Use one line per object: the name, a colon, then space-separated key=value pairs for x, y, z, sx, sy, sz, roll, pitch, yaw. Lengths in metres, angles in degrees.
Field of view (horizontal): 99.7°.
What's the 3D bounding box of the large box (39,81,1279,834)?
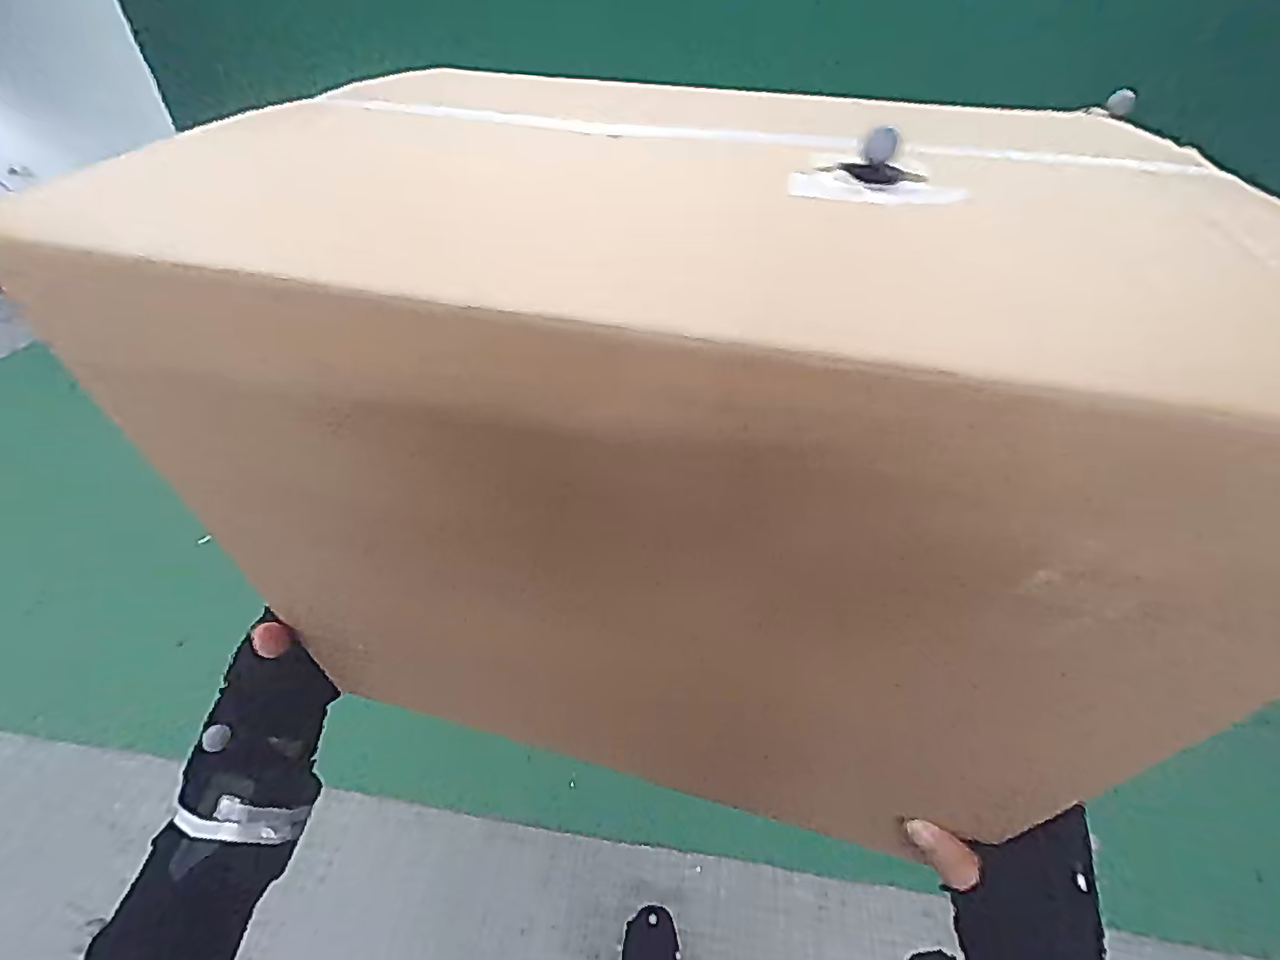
large box: x=0.030 y=-0.032 z=0.349 sx=0.408 sy=0.320 sz=0.320 roll=12 pitch=46 yaw=9
